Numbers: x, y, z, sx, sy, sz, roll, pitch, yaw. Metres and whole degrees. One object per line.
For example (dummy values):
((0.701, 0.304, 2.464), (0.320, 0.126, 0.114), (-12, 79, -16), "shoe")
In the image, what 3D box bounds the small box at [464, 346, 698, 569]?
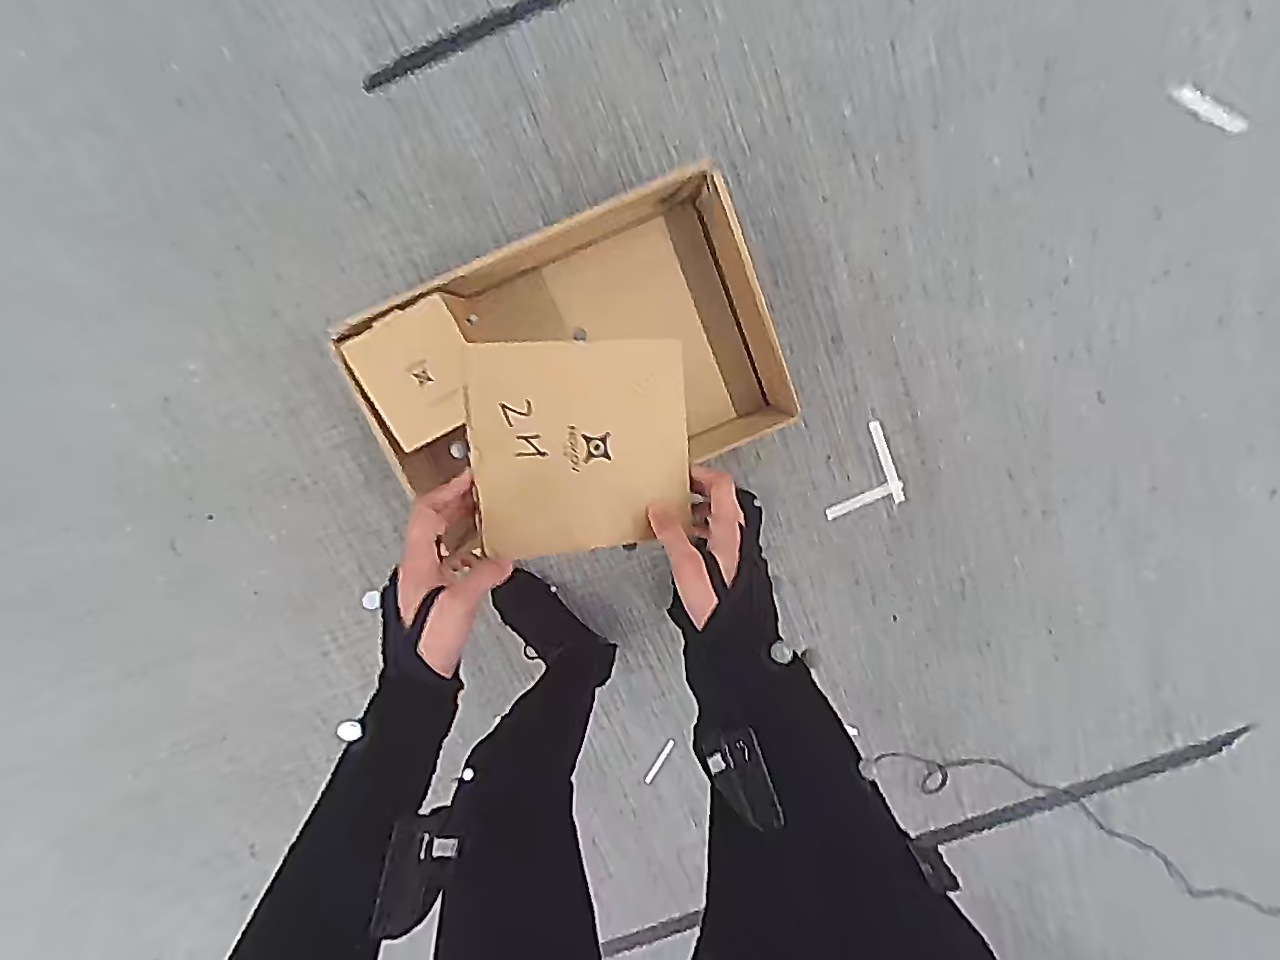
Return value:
((-0.062, -0.030, 0.492), (0.179, 0.176, 0.168), (-6, 97, -17), "small box")
